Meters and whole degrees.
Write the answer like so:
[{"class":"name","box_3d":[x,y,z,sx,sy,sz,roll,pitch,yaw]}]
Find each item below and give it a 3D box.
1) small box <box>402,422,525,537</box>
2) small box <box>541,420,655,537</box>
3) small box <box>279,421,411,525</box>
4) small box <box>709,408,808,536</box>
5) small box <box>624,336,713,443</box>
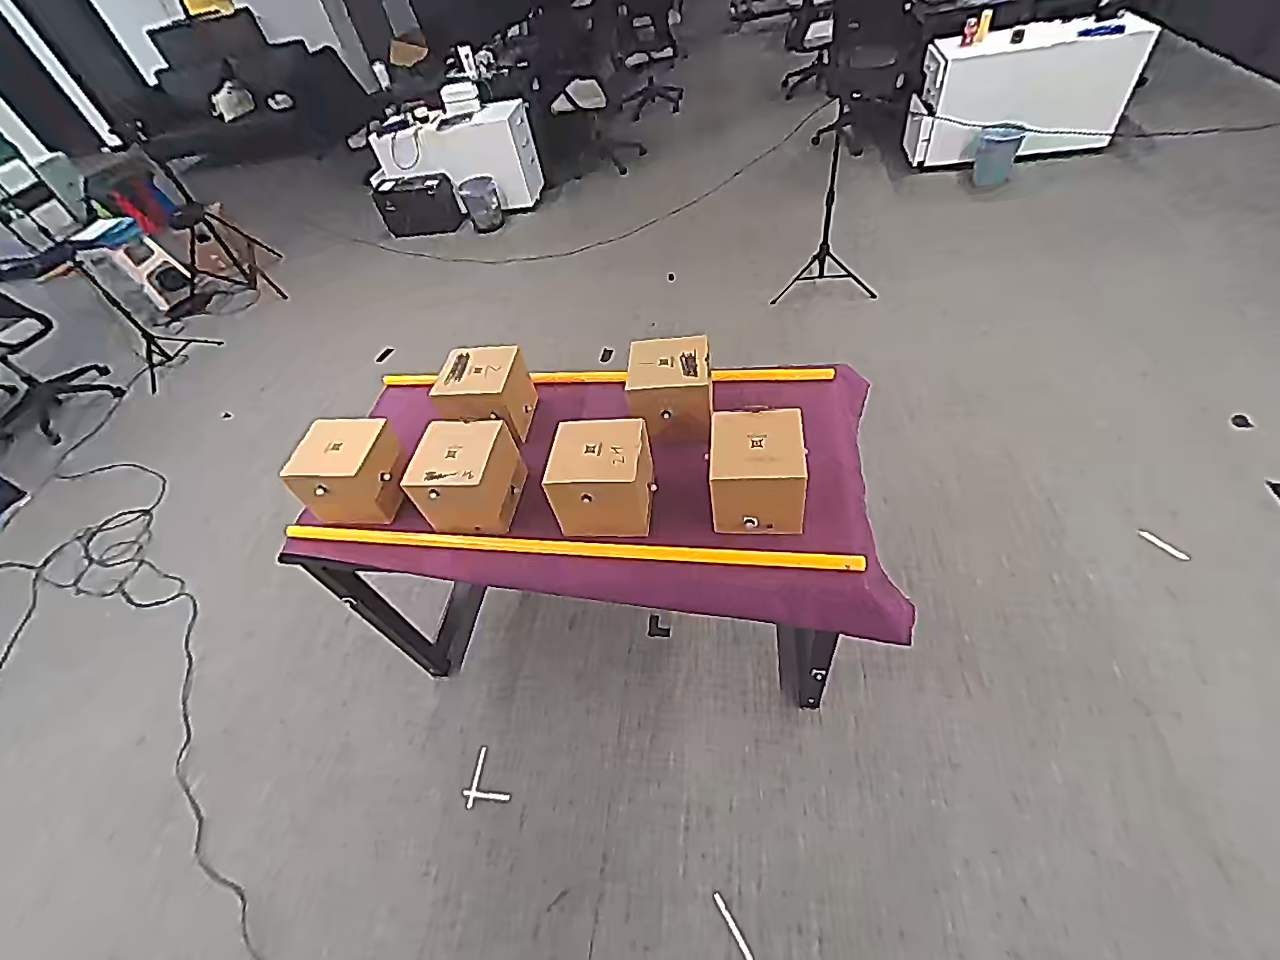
[{"class":"small box","box_3d":[-0.354,-0.002,1.127,0.168,0.176,0.179,0,50,12]},{"class":"small box","box_3d":[-0.074,0.000,1.067,0.179,0.176,0.168,-1,48,10]},{"class":"small box","box_3d":[-0.627,-0.013,1.189,0.179,0.176,0.168,0,50,11]},{"class":"small box","box_3d":[0.221,-0.014,1.019,0.168,0.176,0.179,-2,48,12]},{"class":"small box","box_3d":[0.072,-0.198,1.207,0.179,0.176,0.168,-3,51,10]}]
